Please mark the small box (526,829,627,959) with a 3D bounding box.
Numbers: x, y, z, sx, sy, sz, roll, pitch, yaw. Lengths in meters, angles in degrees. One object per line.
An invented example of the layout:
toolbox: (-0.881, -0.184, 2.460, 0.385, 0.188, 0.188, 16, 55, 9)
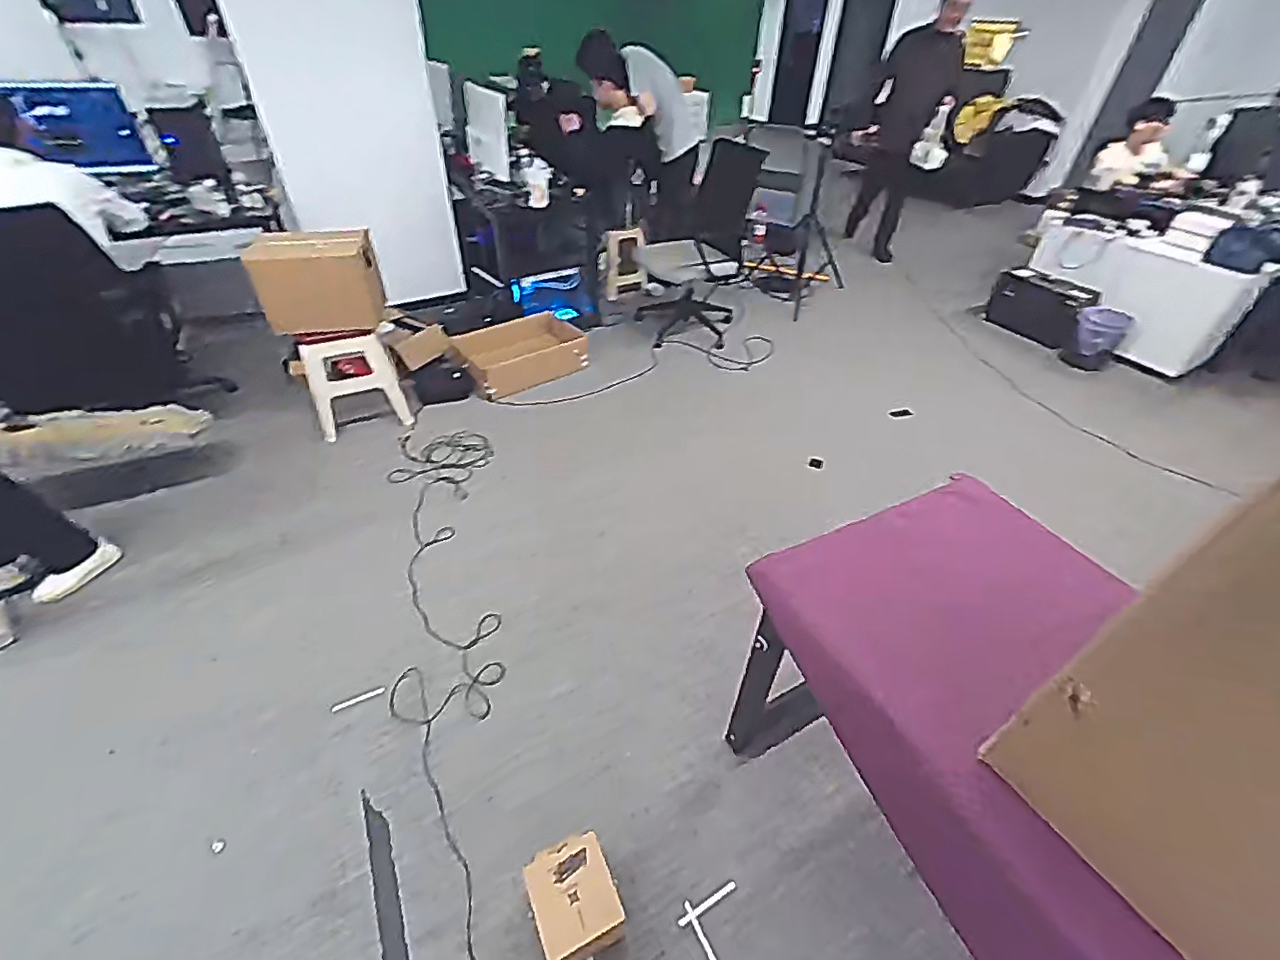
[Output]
small box: (-0.137, 0.900, 1.155, 0.168, 0.176, 0.179, -16, 44, -20)
